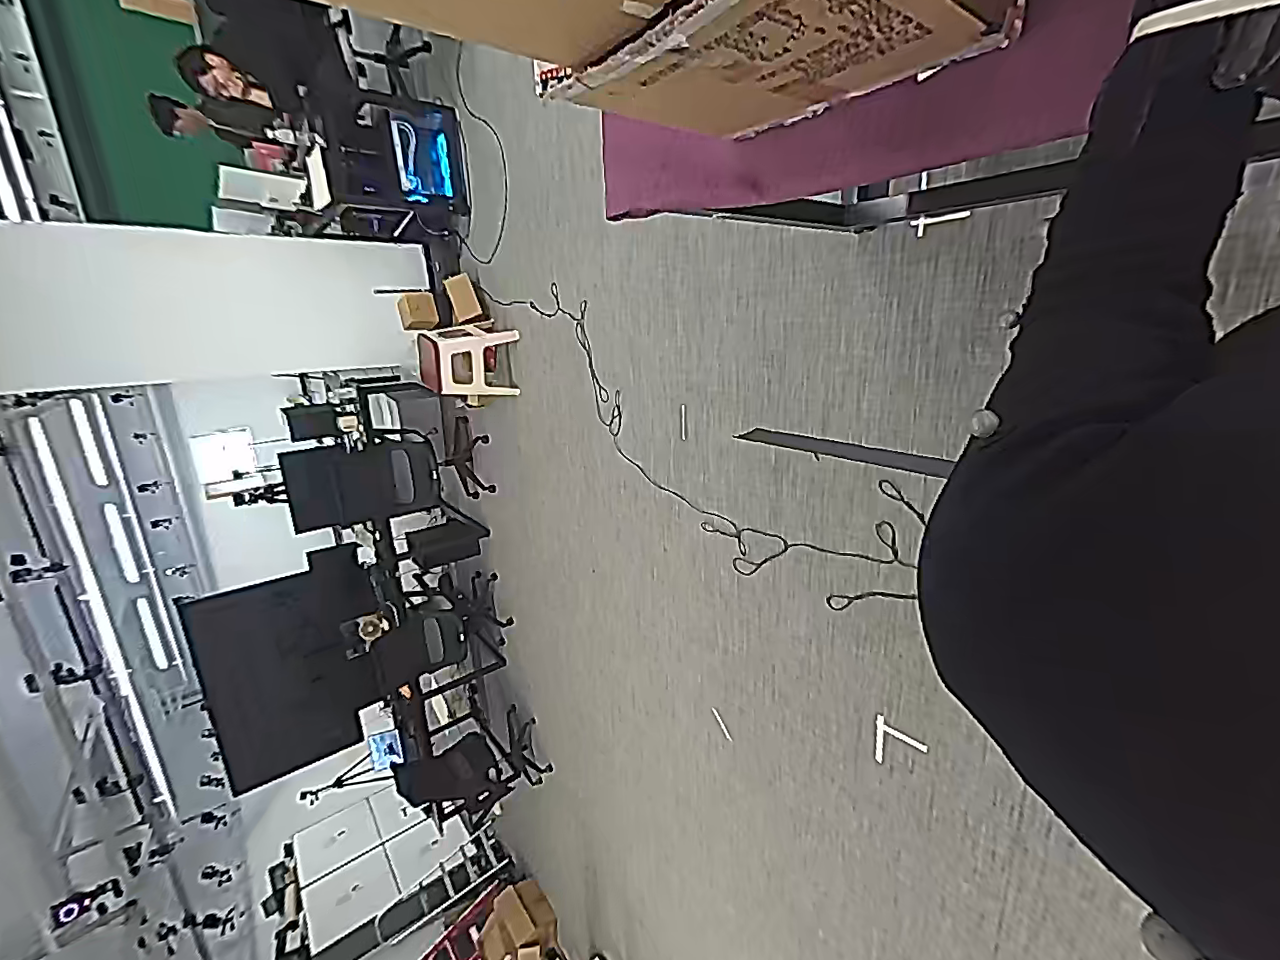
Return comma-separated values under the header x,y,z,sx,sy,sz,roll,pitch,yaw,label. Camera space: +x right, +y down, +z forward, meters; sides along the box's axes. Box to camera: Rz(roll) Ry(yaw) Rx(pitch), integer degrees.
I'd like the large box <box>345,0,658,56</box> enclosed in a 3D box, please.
x,y,z,sx,sy,sz,roll,pitch,yaw,label
-0.109,-0.593,0.346,0.320,0.320,0.408,23,121,53,large box
